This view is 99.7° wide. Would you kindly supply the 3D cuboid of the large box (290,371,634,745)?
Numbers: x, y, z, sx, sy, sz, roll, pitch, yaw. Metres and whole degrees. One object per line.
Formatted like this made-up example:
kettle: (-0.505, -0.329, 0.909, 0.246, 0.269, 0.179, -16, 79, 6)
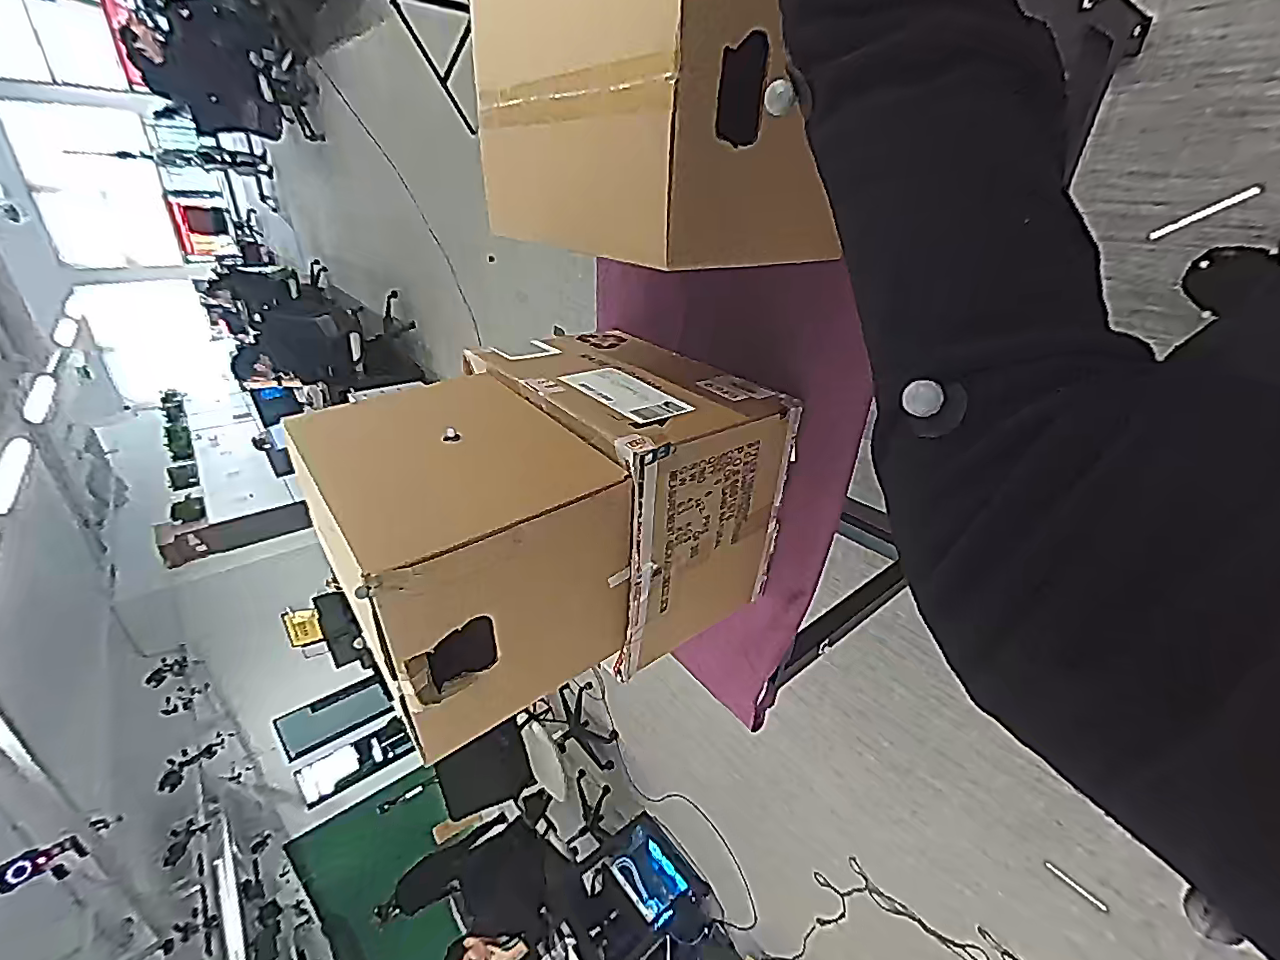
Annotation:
large box: (-0.250, 0.065, 0.783, 0.408, 0.320, 0.320, 34, 136, 41)
